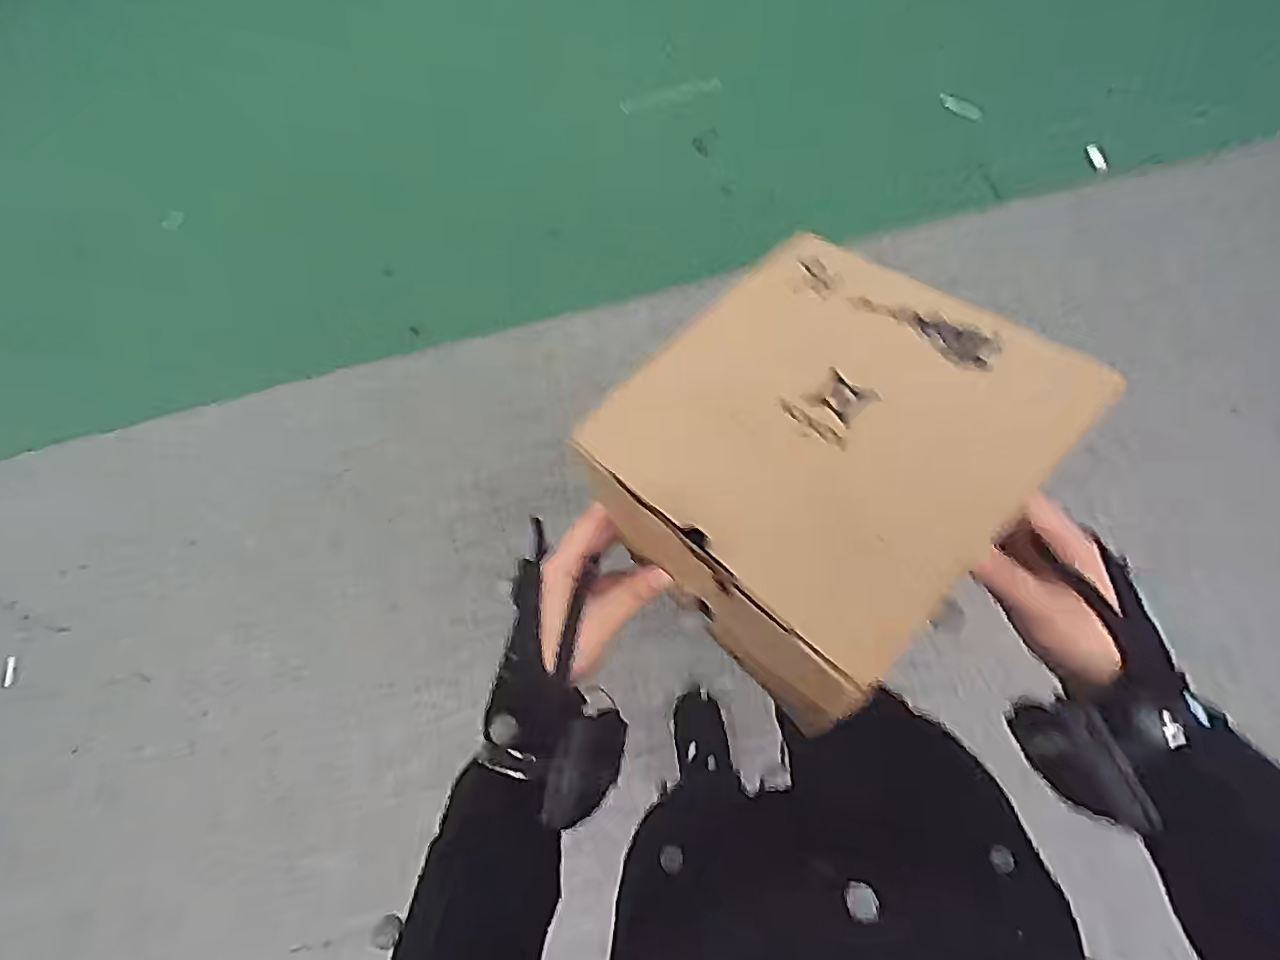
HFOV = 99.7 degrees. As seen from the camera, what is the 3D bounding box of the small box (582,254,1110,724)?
[{"bbox_3d":[0.100,0.015,0.315,0.179,0.176,0.168,-42,62,-13],"label":"small box"}]
